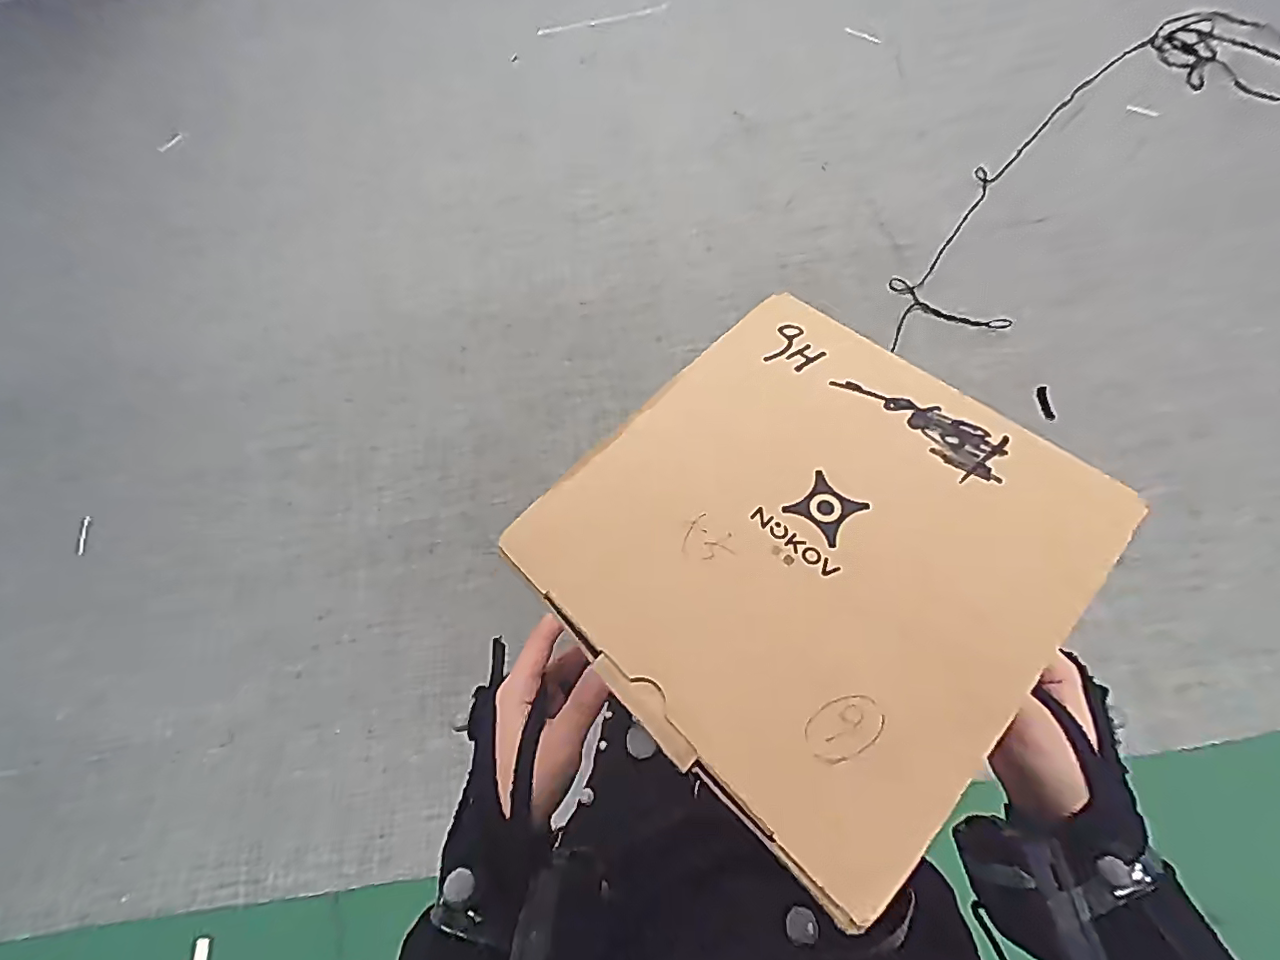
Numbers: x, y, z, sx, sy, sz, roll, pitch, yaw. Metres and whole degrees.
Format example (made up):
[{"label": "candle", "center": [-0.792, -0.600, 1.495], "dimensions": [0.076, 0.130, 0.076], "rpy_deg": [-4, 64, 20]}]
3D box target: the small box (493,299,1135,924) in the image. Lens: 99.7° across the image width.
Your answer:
[{"label": "small box", "center": [0.067, 0.056, 0.269], "dimensions": [0.179, 0.176, 0.168], "rpy_deg": [-42, 65, -15]}]
